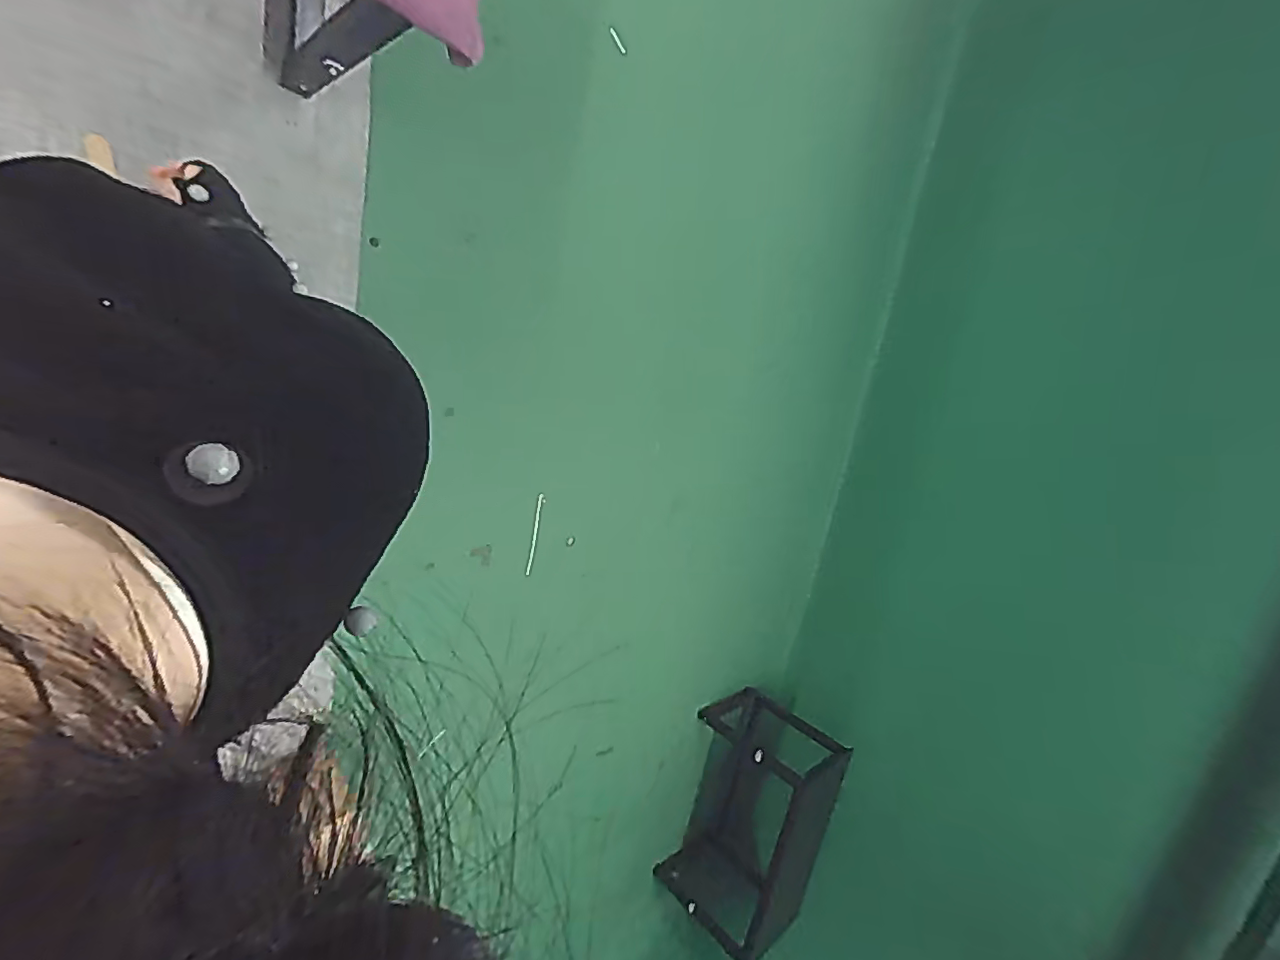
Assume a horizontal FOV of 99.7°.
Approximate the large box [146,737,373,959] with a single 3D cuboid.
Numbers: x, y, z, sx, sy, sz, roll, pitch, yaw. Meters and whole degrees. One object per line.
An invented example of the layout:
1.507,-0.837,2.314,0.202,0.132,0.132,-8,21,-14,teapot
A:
-1.012,1.001,1.462,0.408,0.320,0.320,-21,122,-42,large box
